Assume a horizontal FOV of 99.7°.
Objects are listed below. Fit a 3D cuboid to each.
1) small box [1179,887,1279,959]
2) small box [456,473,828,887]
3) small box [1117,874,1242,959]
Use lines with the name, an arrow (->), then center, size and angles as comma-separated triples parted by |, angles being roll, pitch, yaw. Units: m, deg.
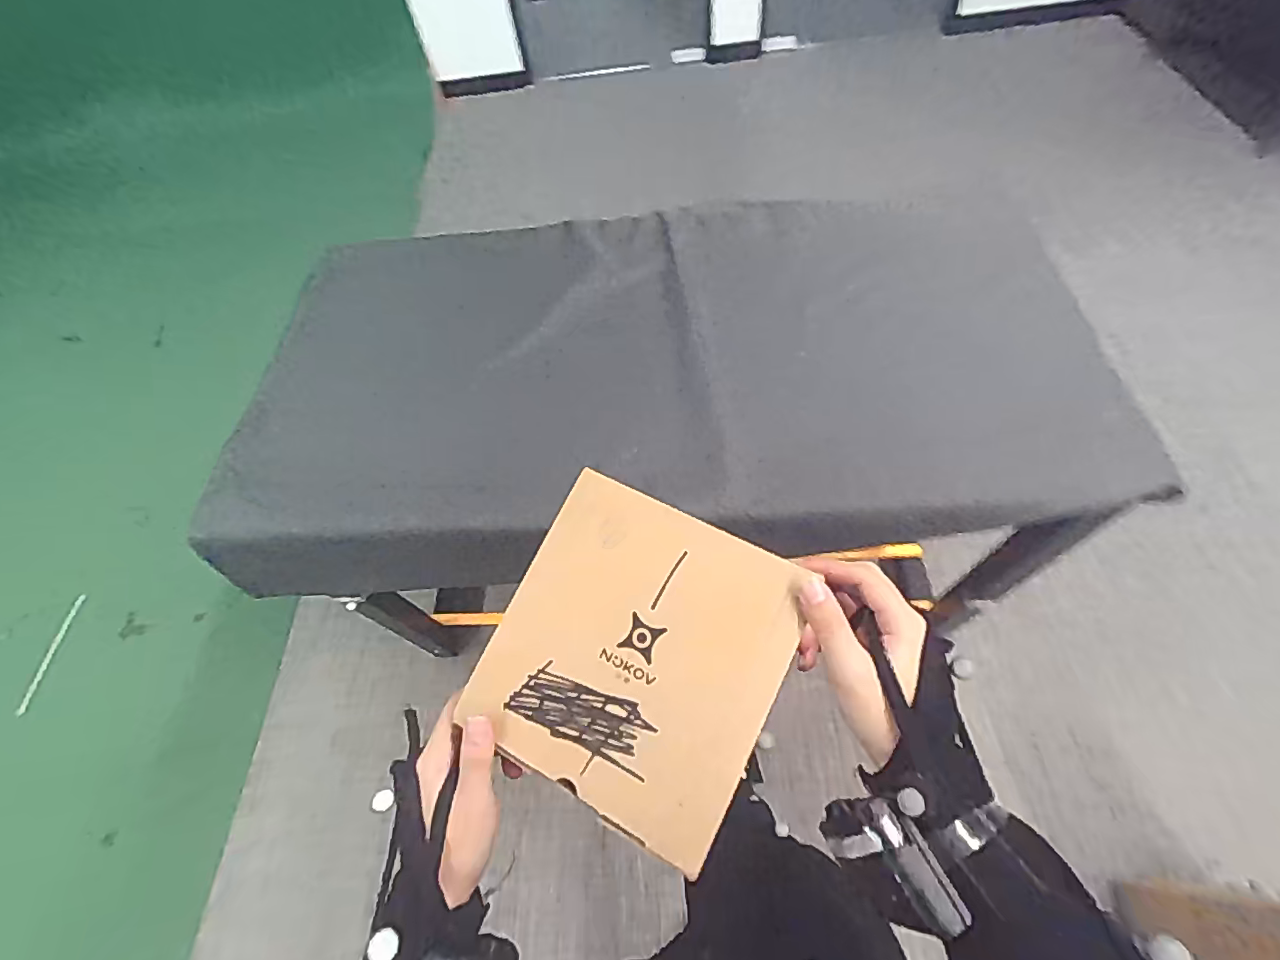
small box -> 0.919, 0.674, 0.737 | 0.168, 0.176, 0.179 | -3, 58, 3
small box -> 0.013, 0.125, 0.389 | 0.168, 0.176, 0.179 | 26, 79, 16
small box -> 0.939, 0.760, 0.874 | 0.168, 0.176, 0.179 | -1, 60, 6
